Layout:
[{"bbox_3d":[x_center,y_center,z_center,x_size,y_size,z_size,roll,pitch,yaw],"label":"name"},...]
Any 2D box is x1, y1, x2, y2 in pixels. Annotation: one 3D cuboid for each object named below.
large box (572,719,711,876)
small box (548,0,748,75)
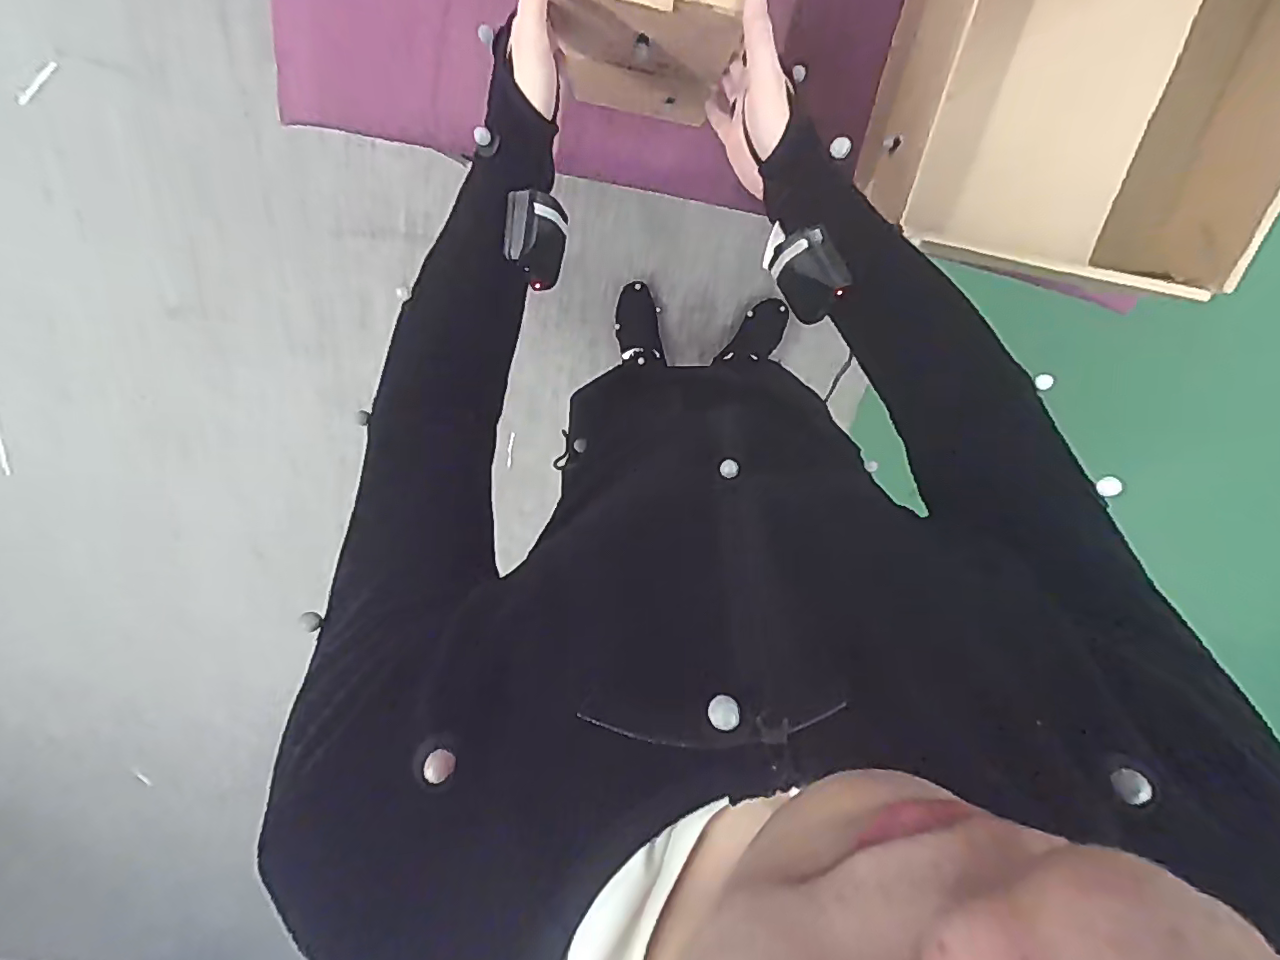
[{"bbox_3d":[0.004,1.149,1.977,0.408,0.320,0.320,-21,111,7],"label":"large box"},{"bbox_3d":[0.016,-0.468,0.442,0.168,0.176,0.179,9,112,-5],"label":"small box"}]
